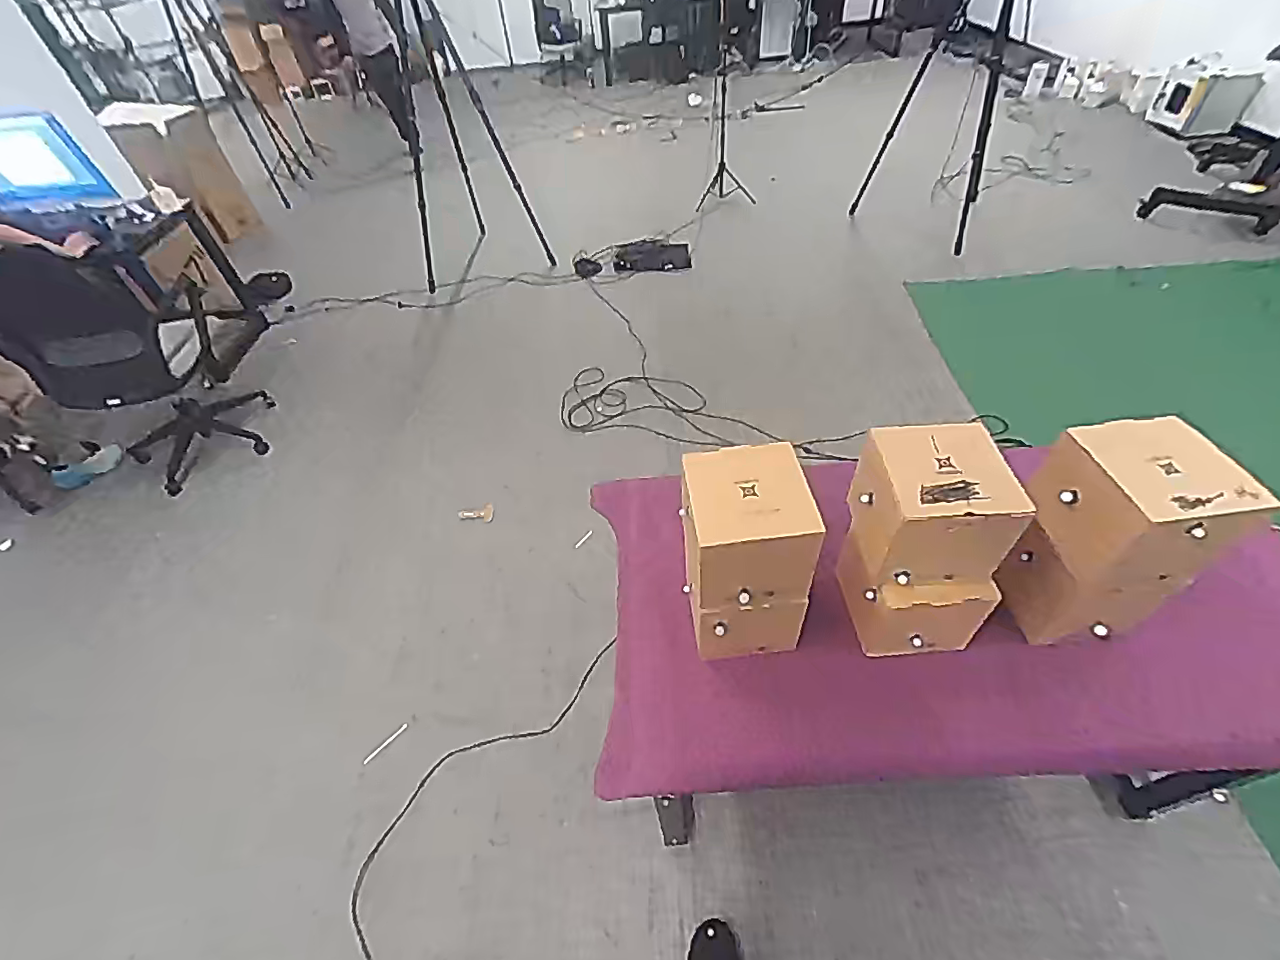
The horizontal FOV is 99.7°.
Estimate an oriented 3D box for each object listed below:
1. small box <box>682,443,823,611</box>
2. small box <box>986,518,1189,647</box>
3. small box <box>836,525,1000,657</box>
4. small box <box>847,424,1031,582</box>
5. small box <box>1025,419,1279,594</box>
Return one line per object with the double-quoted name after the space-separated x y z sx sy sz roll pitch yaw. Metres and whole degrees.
0.152 0.070 0.800 0.168 0.176 0.179 -6 47 0 "small box"
0.708 0.151 0.890 0.168 0.176 0.179 -7 47 1 "small box"
0.444 0.173 0.901 0.168 0.176 0.179 -5 48 1 "small box"
0.423 0.039 0.802 0.168 0.176 0.179 -2 47 4 "small box"
0.696 0.038 0.771 0.168 0.176 0.179 -7 46 0 "small box"
